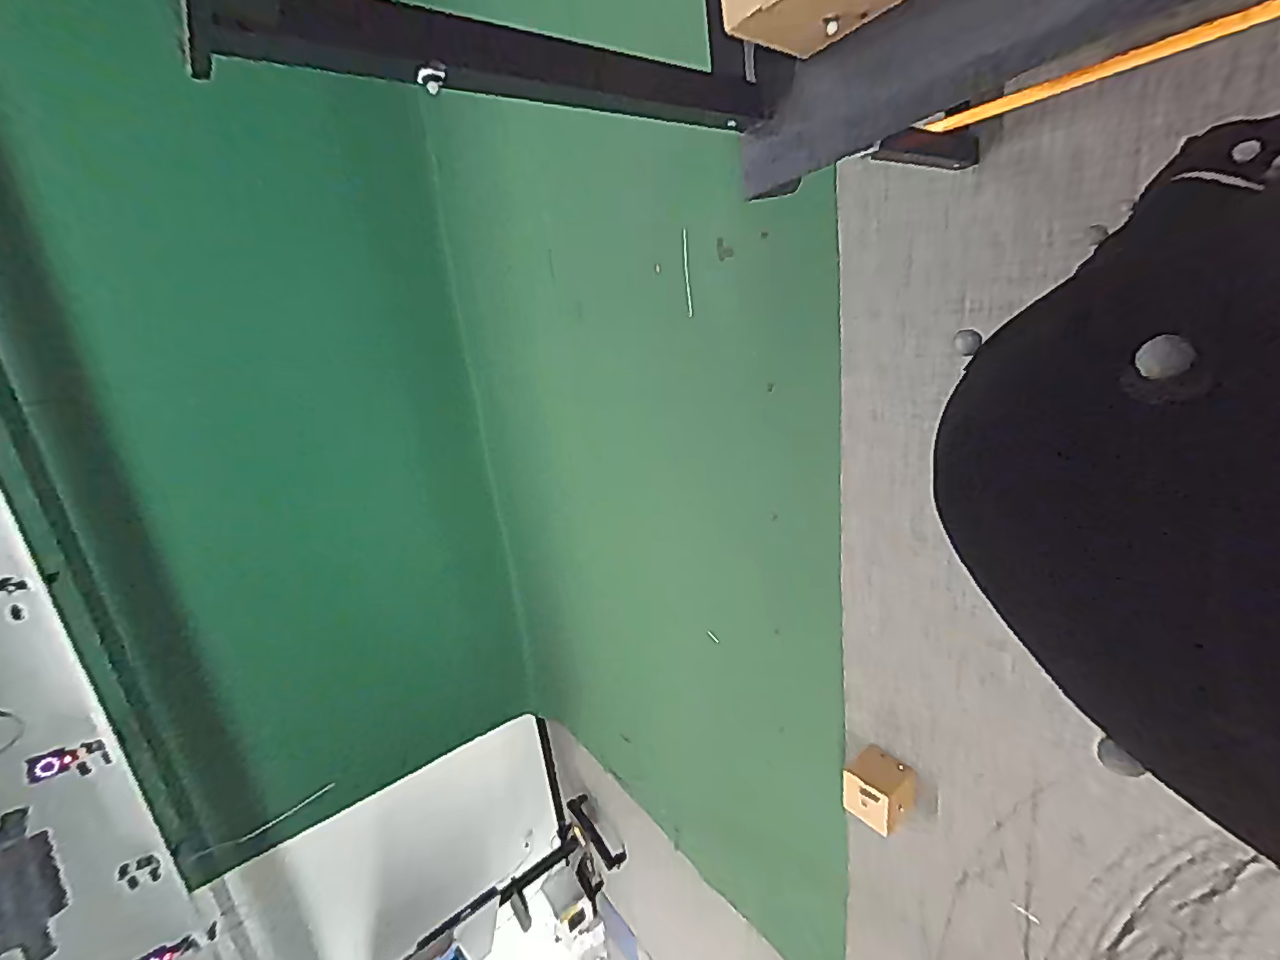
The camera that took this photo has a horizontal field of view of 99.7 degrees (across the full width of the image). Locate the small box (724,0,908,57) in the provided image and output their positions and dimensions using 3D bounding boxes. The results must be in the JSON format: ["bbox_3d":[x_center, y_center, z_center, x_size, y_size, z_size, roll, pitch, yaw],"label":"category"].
[{"bbox_3d":[0.215,-0.661,0.654,0.168,0.176,0.179,10,112,52],"label":"small box"}]

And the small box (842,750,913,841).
[{"bbox_3d":[0.823,1.082,1.871,0.168,0.176,0.179,16,118,51],"label":"small box"}]
